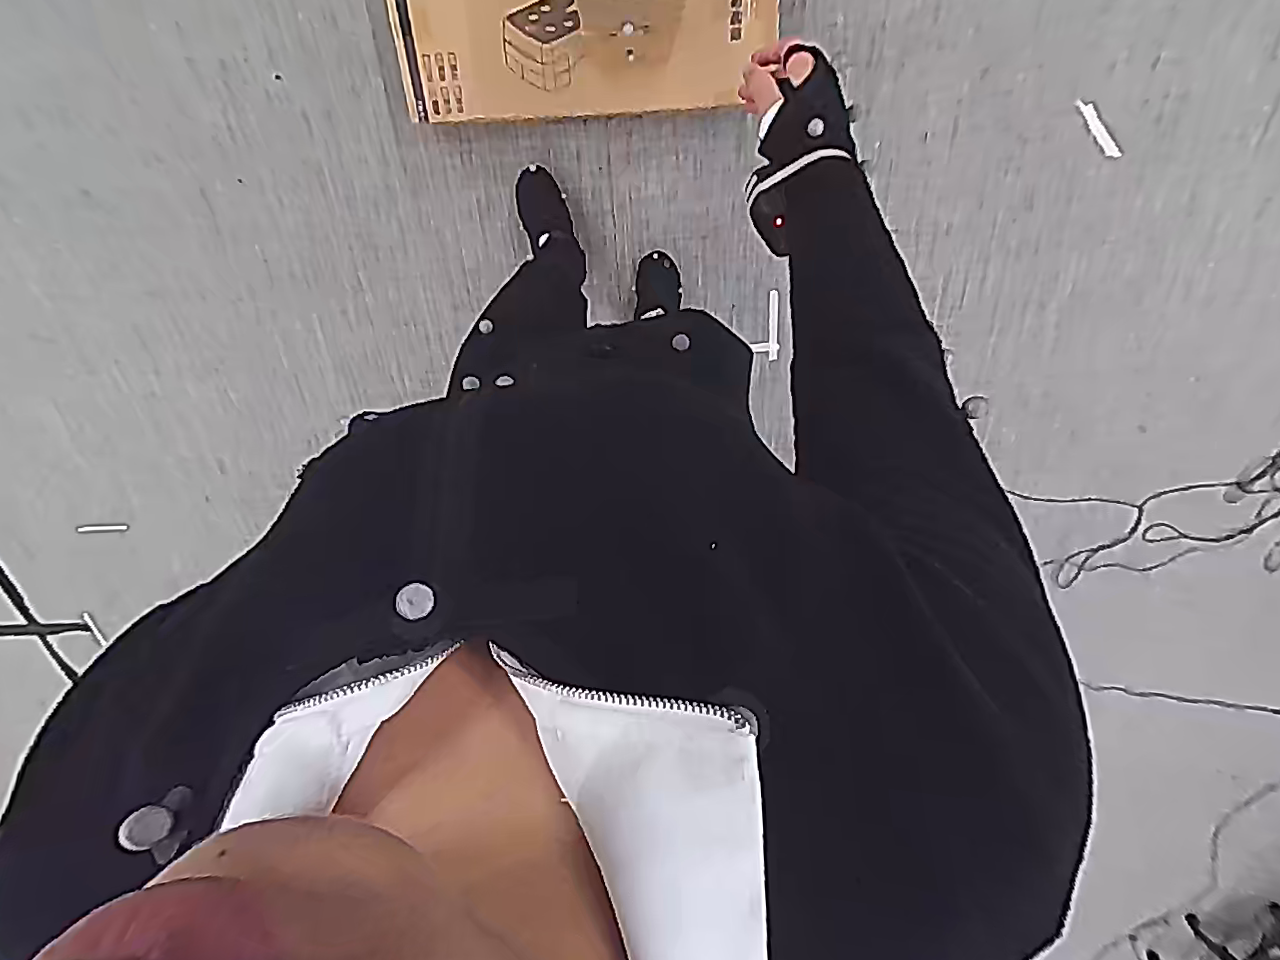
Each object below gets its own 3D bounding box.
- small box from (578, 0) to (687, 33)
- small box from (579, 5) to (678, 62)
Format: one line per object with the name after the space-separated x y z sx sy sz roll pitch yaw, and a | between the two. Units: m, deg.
-0.013 -0.792 0.791 0.168 0.176 0.179 0 116 0 | small box
-0.023 -0.861 0.940 0.168 0.176 0.179 -3 116 2 | small box
